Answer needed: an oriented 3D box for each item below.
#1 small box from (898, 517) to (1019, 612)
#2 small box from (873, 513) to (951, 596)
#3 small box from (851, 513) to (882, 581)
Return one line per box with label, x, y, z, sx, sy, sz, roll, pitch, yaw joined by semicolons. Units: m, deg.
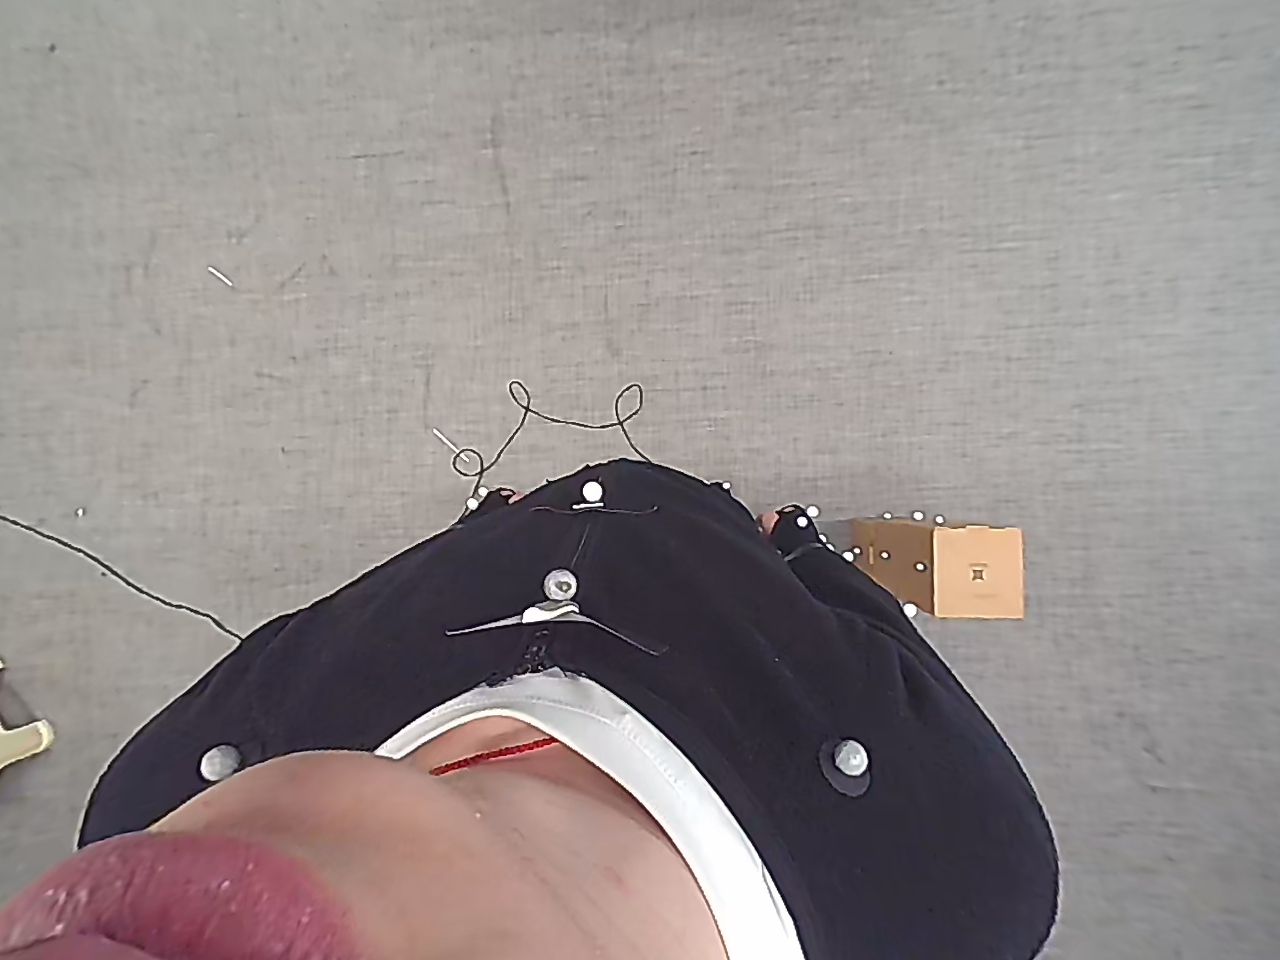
small box;0.653;0.168;1.125;0.168;0.176;0.179;-1;92;4
small box;0.667;0.172;1.286;0.168;0.176;0.179;-2;90;3
small box;0.677;0.178;1.450;0.179;0.176;0.168;-1;91;4
